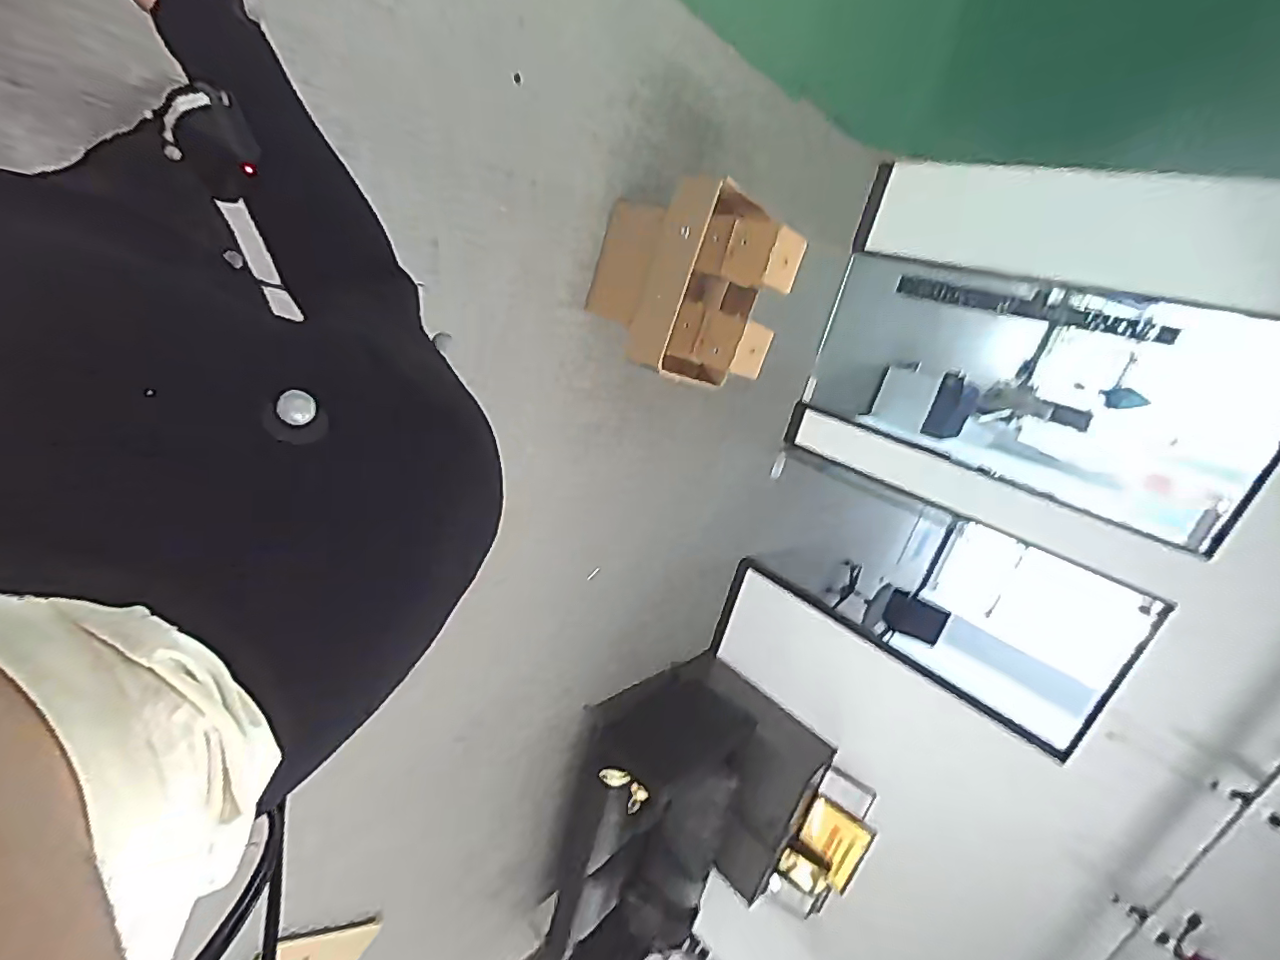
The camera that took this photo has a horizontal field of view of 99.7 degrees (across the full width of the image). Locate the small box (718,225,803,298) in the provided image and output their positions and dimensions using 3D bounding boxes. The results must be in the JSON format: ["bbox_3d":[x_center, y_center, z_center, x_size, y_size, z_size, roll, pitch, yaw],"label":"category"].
[{"bbox_3d":[0.379,-0.692,1.712,0.179,0.176,0.168,-4,117,-49],"label":"small box"}]

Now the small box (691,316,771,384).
[{"bbox_3d":[0.296,-0.431,1.785,0.179,0.176,0.168,1,114,-50],"label":"small box"}]

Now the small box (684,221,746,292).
[{"bbox_3d":[0.273,-0.754,1.818,0.168,0.176,0.179,-2,115,-49],"label":"small box"}]
